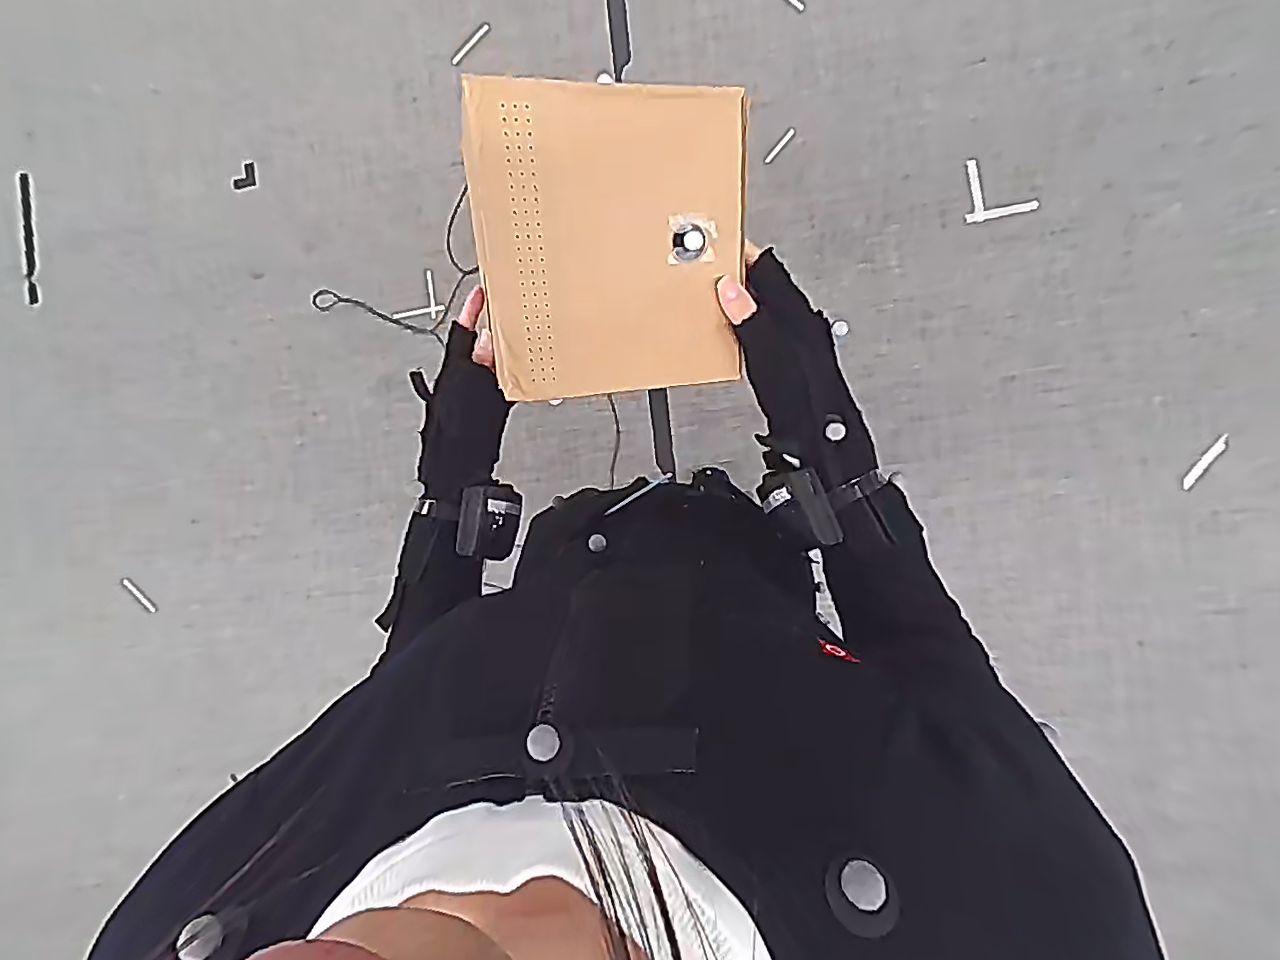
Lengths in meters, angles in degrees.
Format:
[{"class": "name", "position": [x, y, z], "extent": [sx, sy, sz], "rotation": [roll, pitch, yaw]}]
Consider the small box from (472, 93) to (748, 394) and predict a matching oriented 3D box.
[{"class": "small box", "position": [-0.032, -0.173, 0.415], "extent": [0.176, 0.168, 0.179], "rotation": [-8, 112, -14]}]
